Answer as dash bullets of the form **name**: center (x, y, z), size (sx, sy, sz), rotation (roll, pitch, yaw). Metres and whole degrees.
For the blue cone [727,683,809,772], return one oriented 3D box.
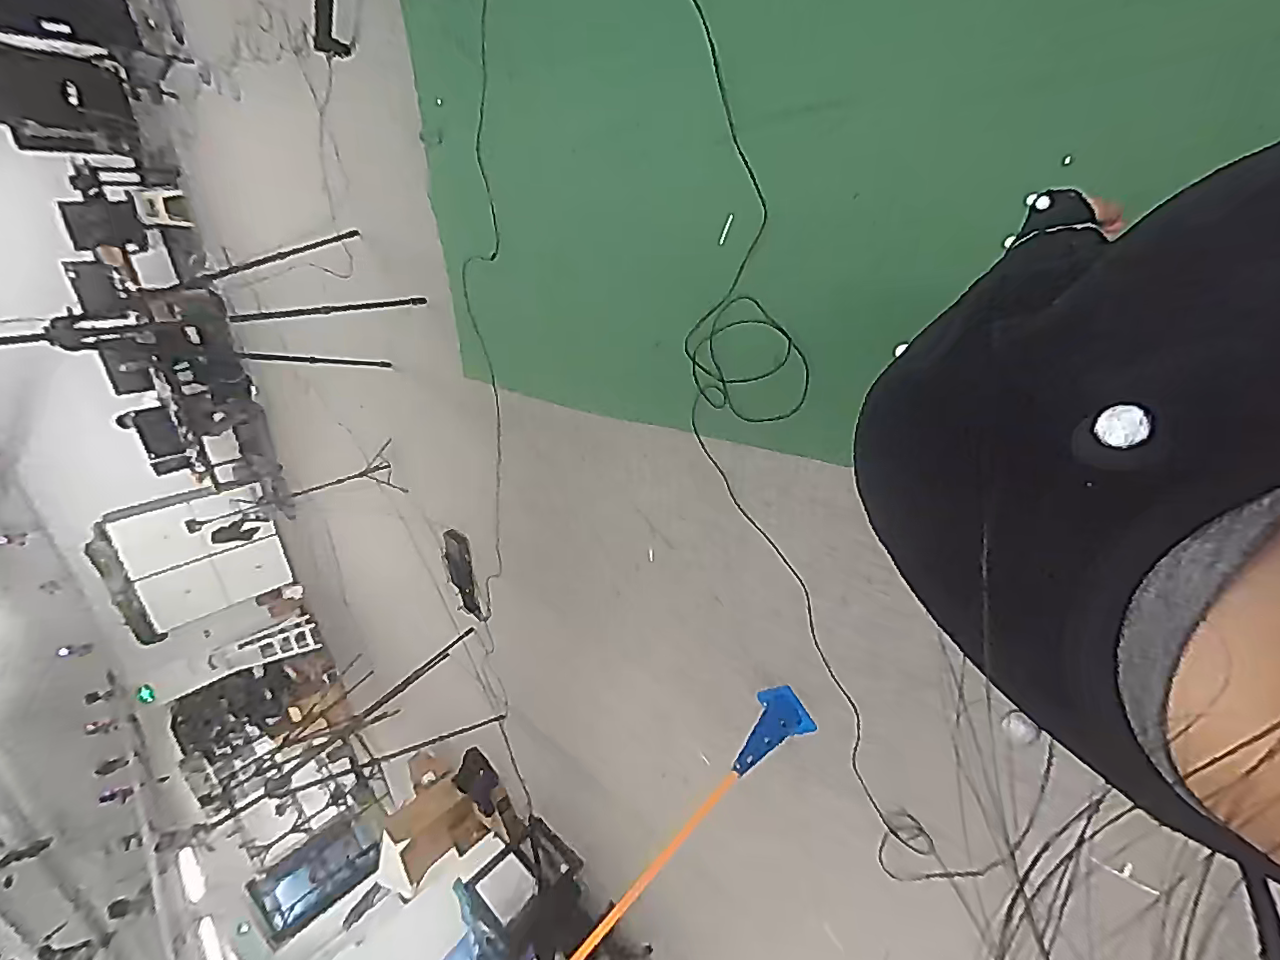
- **blue cone**: center (0.454, 0.963, 2.037), size (0.192, 0.380, 0.193), rotation (54, 140, 9)
